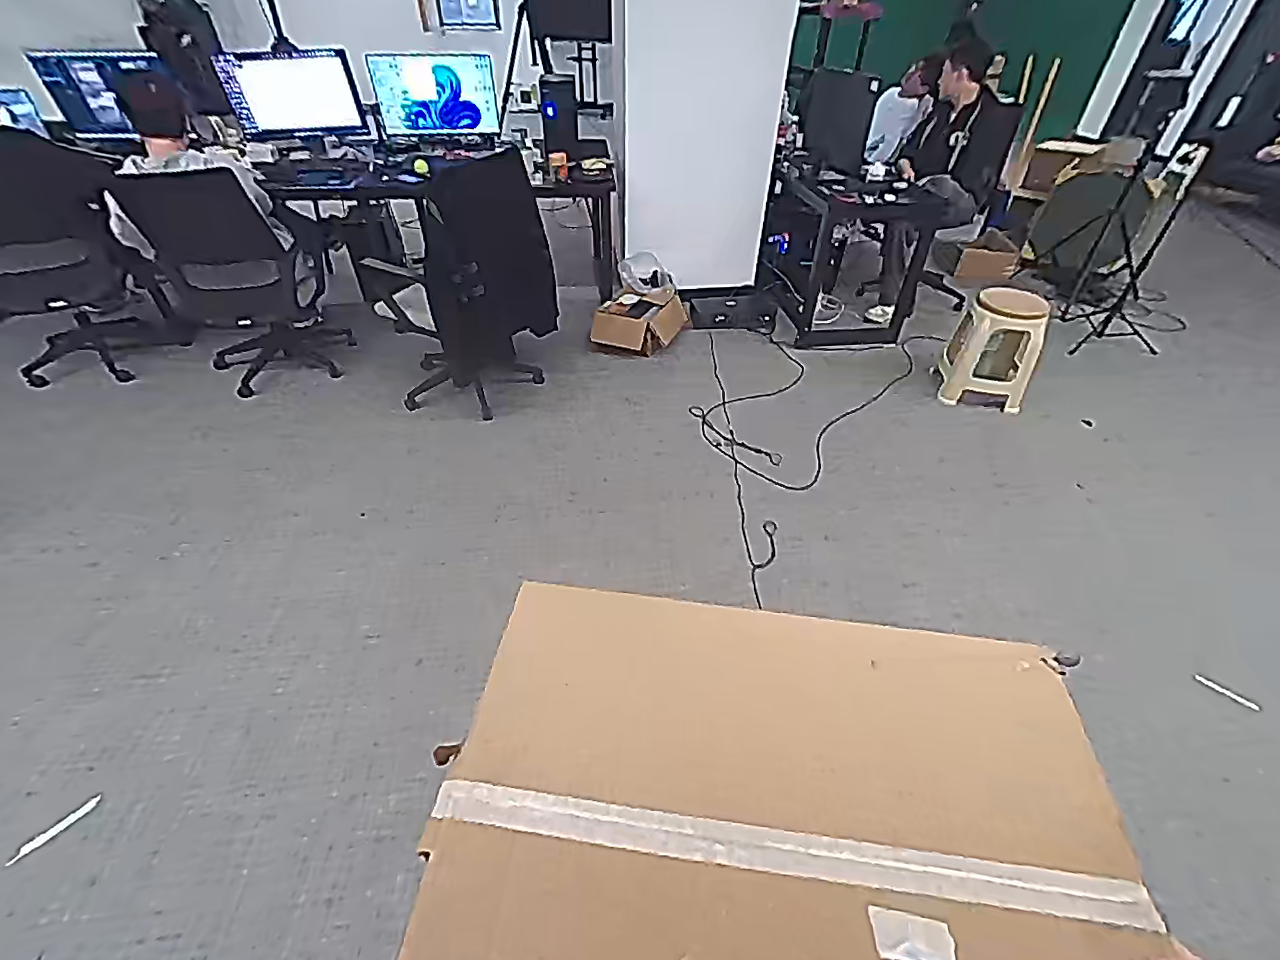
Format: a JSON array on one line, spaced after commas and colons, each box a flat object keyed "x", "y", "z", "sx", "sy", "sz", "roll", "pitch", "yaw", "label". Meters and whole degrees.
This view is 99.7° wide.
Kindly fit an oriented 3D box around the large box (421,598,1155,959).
[{"x": 0.082, "y": 0.325, "z": 0.434, "sx": 0.408, "sy": 0.320, "sz": 0.320, "roll": 6, "pitch": 48, "yaw": 4, "label": "large box"}]
